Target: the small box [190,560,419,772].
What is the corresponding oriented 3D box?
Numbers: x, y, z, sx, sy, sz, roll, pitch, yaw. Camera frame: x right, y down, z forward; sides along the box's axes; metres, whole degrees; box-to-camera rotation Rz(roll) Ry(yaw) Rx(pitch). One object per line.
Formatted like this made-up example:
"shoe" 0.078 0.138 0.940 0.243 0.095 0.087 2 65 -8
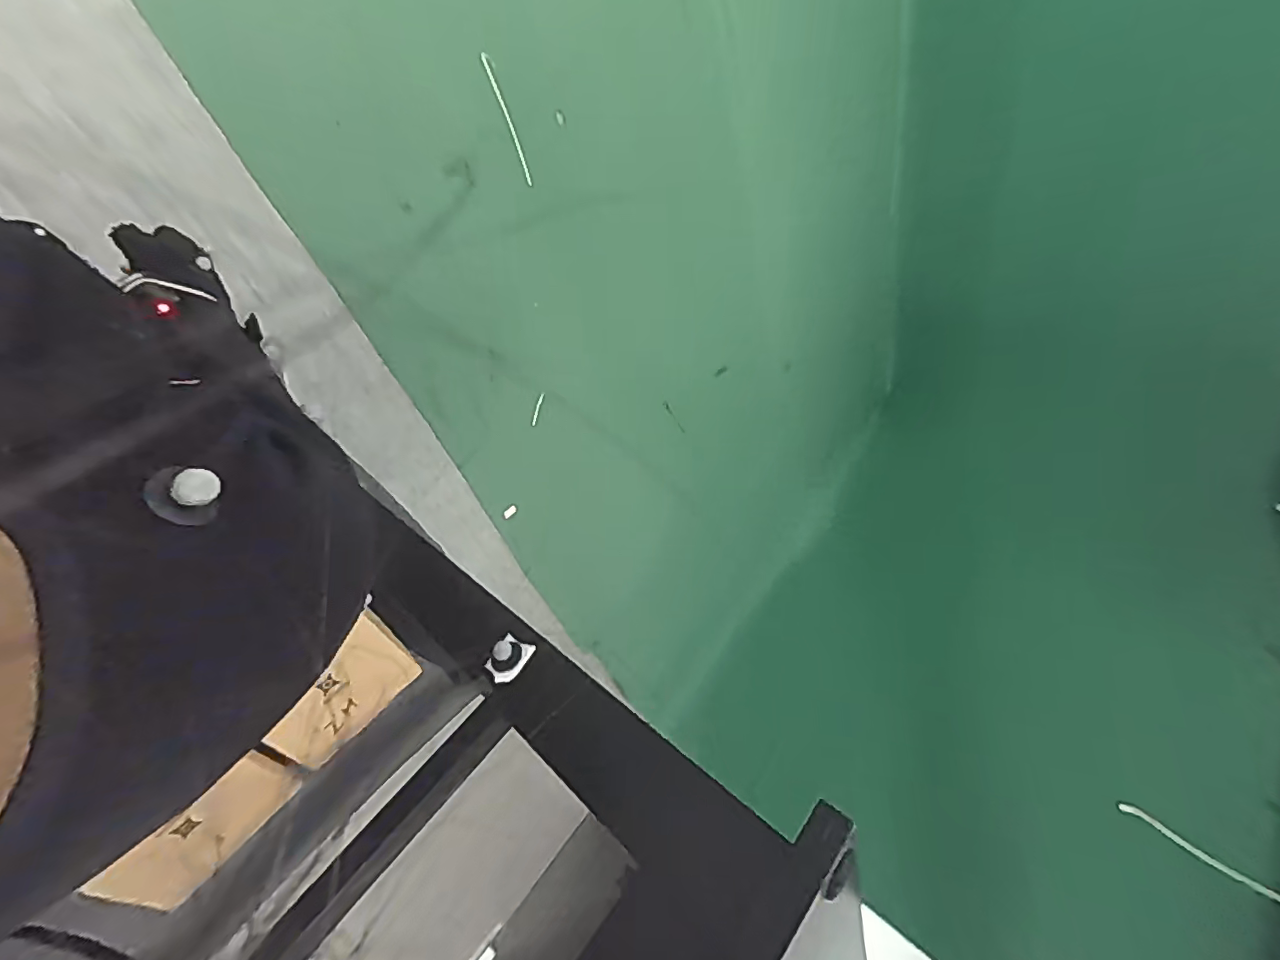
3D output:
"small box" -0.432 0.227 0.702 0.168 0.176 0.179 -42 135 -25
